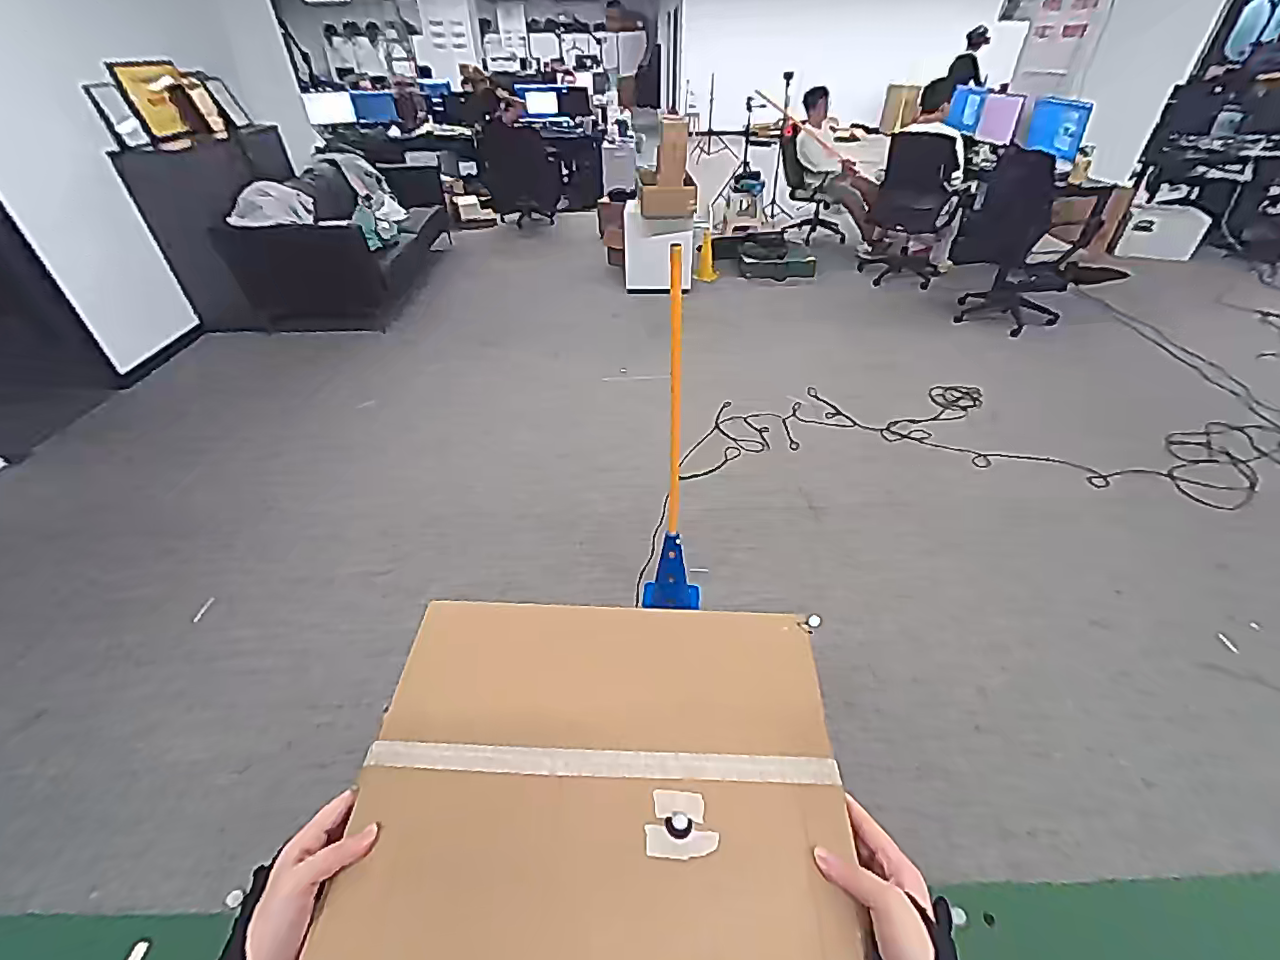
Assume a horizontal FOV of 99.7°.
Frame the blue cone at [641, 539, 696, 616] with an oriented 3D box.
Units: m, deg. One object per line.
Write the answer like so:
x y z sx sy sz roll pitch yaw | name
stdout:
0.099 0.333 1.791 0.193 0.380 0.192 4 39 6 | blue cone

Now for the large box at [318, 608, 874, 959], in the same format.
-0.032 0.359 0.582 0.408 0.320 0.320 2 45 1 | large box
